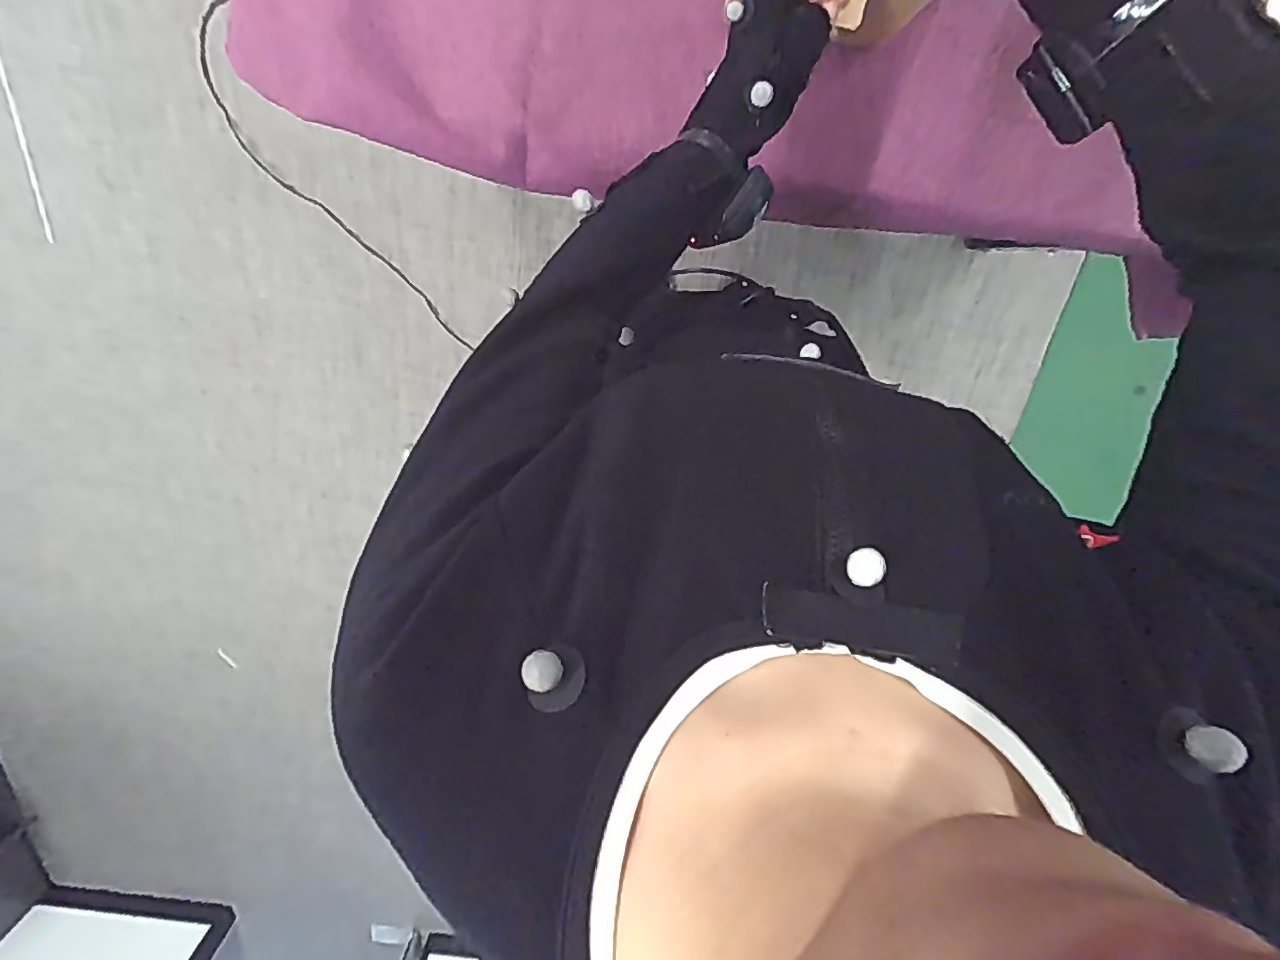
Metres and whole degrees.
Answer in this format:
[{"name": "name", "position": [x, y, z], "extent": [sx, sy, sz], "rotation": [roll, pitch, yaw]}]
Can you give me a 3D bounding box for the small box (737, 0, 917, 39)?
[{"name": "small box", "position": [0.175, -0.498, 0.439], "extent": [0.168, 0.176, 0.179], "rotation": [9, 113, -1]}]
